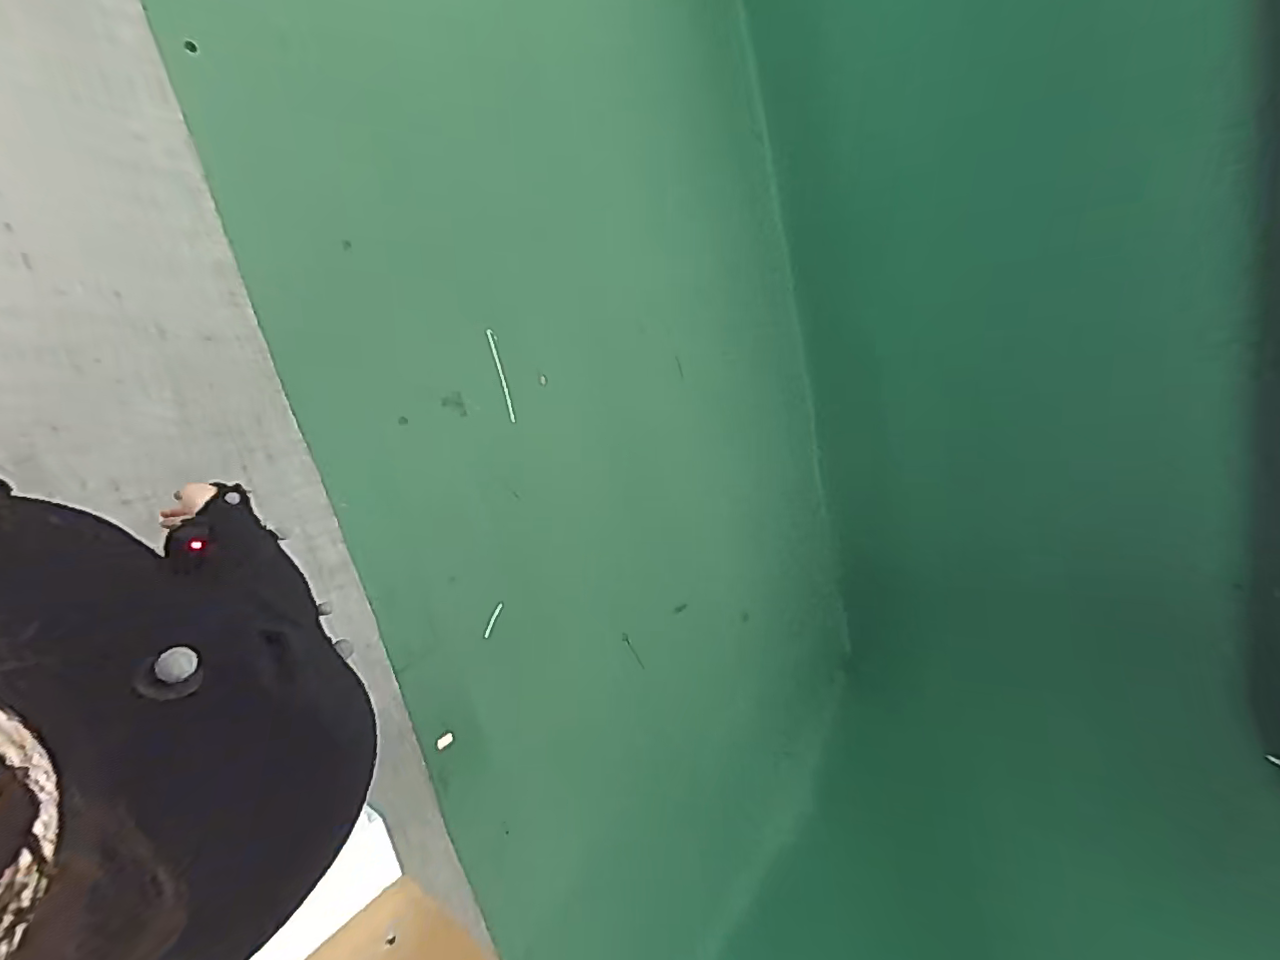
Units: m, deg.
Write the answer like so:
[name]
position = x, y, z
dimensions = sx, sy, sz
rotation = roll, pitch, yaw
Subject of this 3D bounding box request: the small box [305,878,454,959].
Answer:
[small box]
position = -0.389, 0.776, 0.837
dimensions = 0.179, 0.176, 0.168
rotation = -26, 107, -47
